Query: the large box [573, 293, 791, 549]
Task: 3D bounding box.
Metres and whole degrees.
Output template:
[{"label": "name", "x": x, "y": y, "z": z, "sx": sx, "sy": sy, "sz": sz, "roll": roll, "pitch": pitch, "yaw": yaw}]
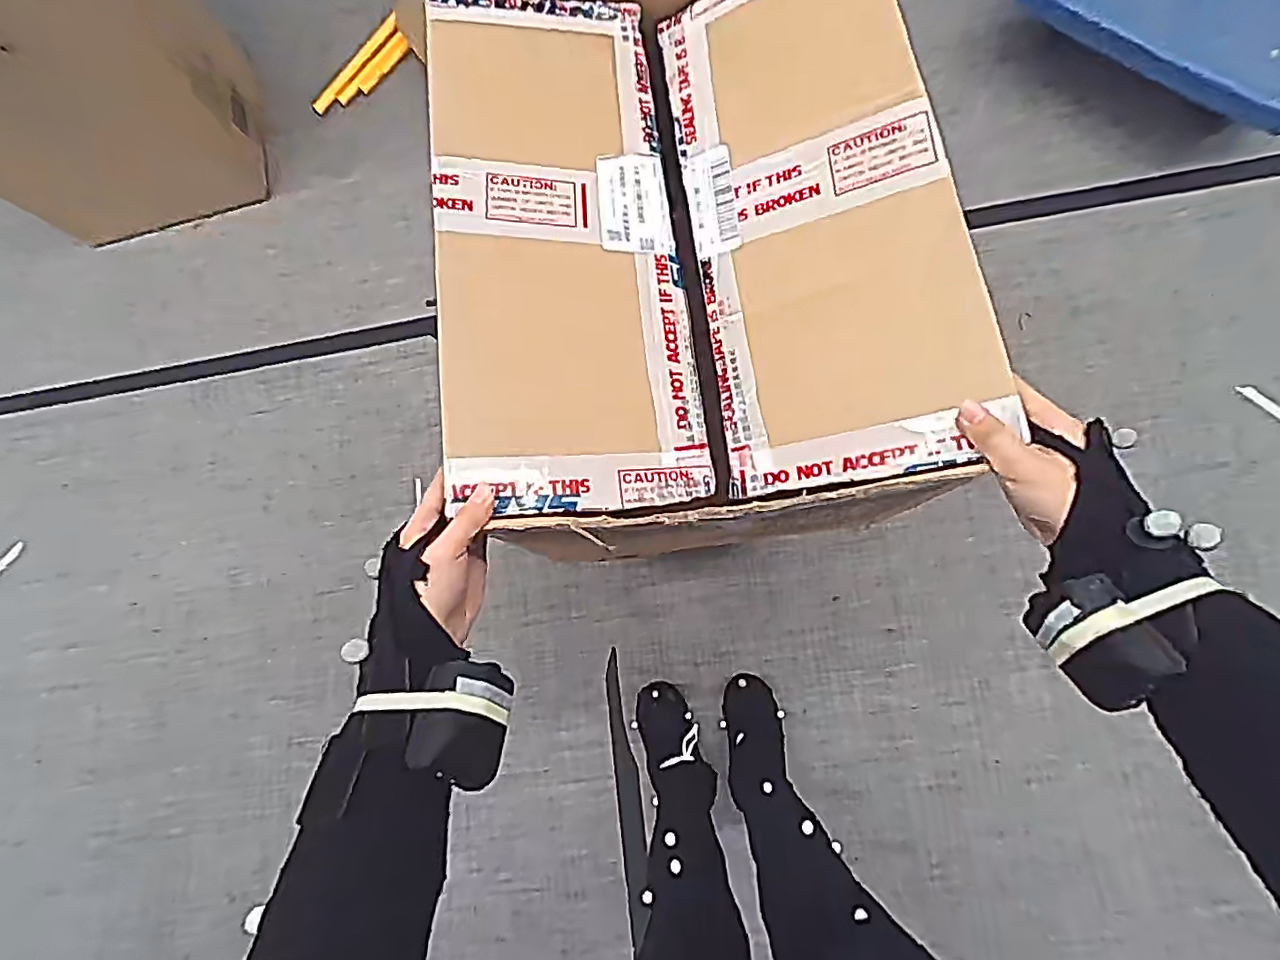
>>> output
[{"label": "large box", "x": 0.076, "y": -0.089, "z": 1.063, "sx": 0.320, "sy": 0.320, "sz": 0.408, "roll": -10, "pitch": 81, "yaw": 5}]
